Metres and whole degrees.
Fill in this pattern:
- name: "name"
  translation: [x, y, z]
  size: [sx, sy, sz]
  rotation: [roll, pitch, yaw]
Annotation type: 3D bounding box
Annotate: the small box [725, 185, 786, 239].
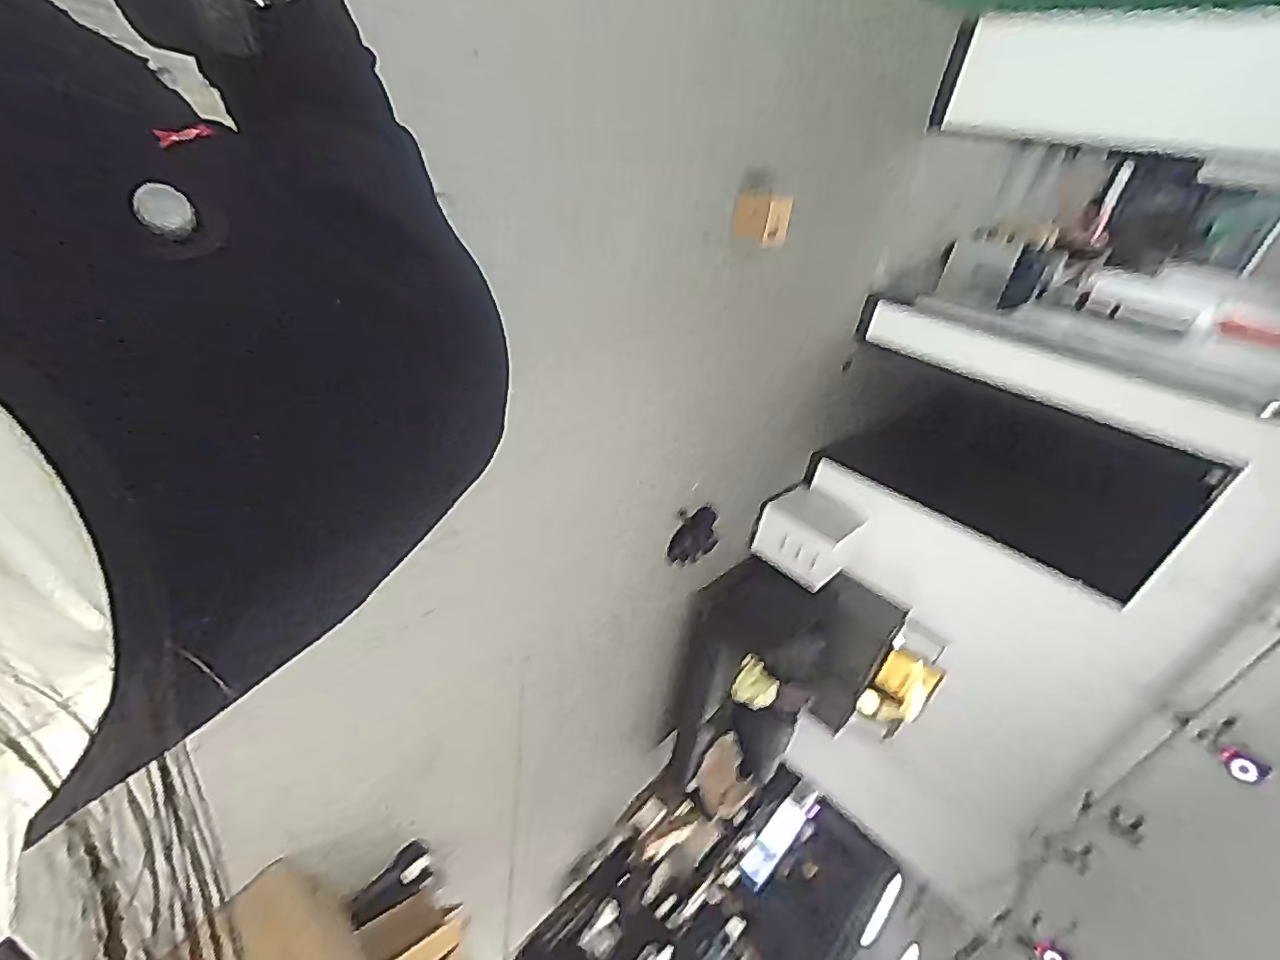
- name: "small box"
  translation: [0.467, -1.099, 2.216]
  size: [0.168, 0.176, 0.179]
  rotation: [-25, 133, -40]
